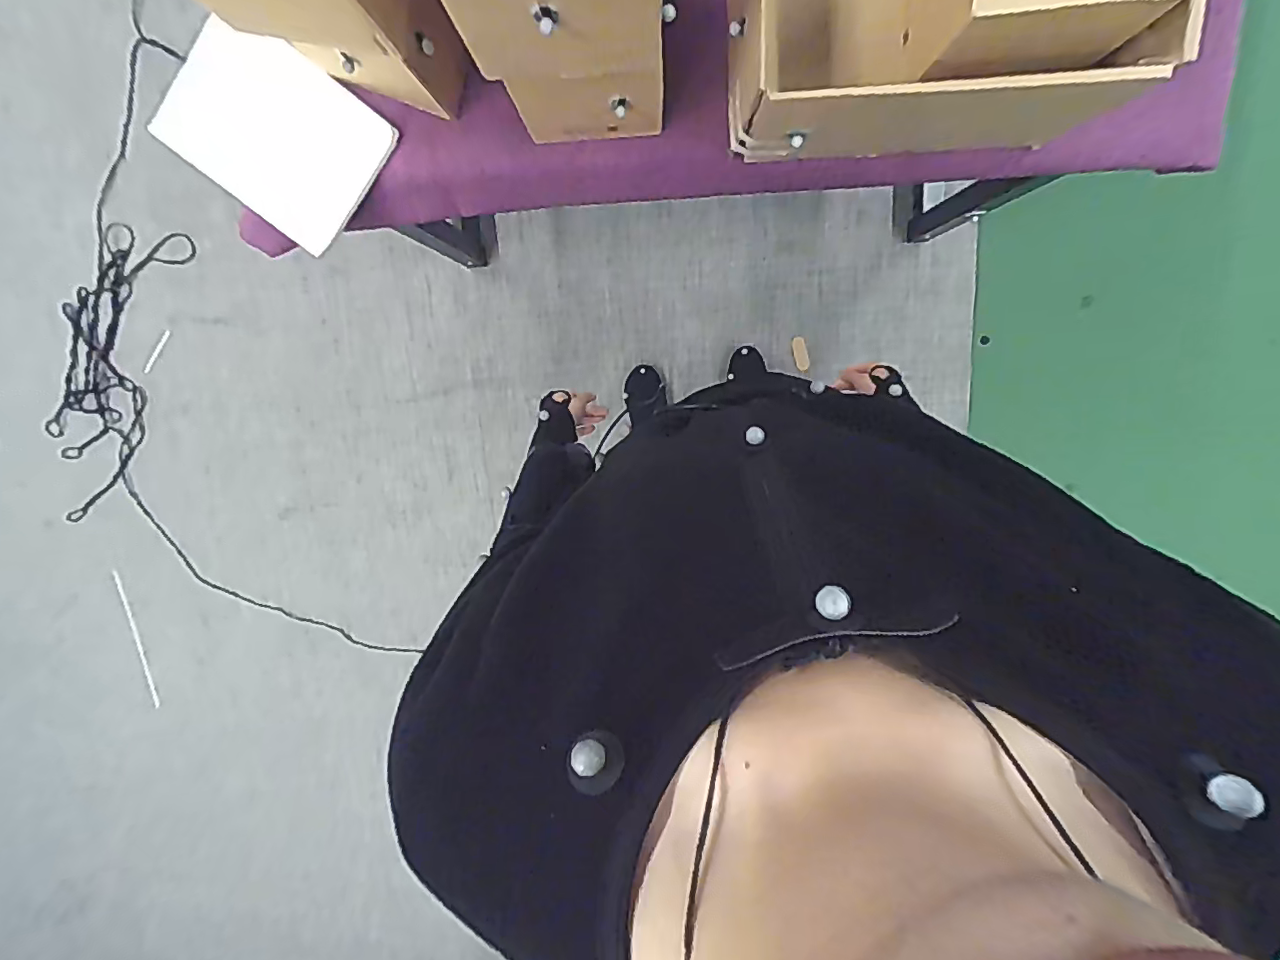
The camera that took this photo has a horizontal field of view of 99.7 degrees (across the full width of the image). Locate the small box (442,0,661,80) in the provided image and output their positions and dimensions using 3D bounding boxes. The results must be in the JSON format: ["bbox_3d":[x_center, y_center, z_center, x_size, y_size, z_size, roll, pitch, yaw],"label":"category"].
[{"bbox_3d":[-0.070,-0.460,0.438,0.179,0.176,0.168,-2,100,2],"label":"small box"}]
